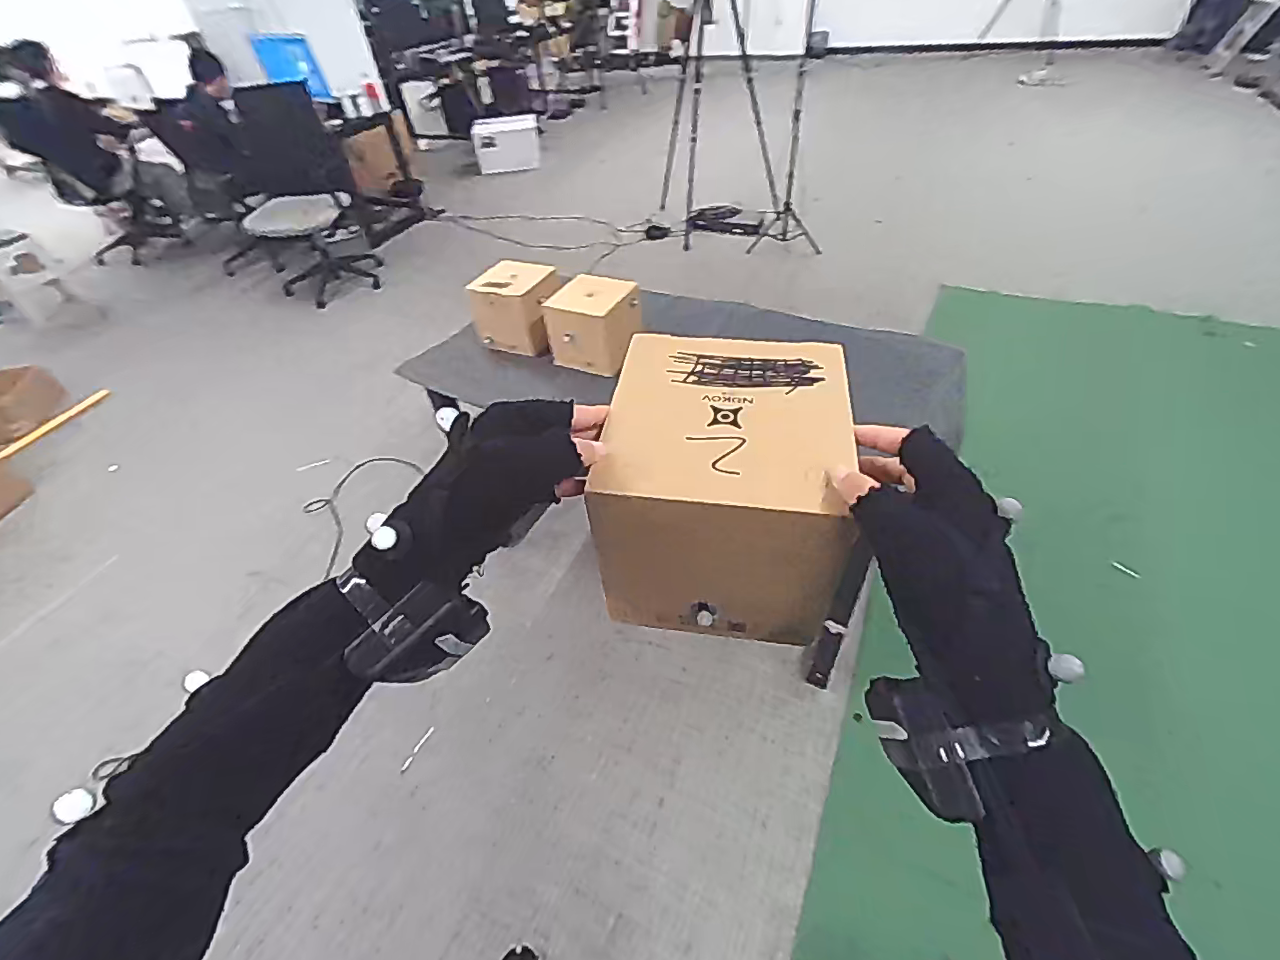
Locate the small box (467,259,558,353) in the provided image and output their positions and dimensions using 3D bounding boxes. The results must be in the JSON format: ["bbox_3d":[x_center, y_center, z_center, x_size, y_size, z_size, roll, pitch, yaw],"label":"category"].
[{"bbox_3d":[-0.313,-0.452,1.410,0.168,0.176,0.179,15,48,19],"label":"small box"}]

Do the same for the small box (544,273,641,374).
[{"bbox_3d":[-0.105,-0.381,1.321,0.168,0.176,0.179,17,49,22],"label":"small box"}]
